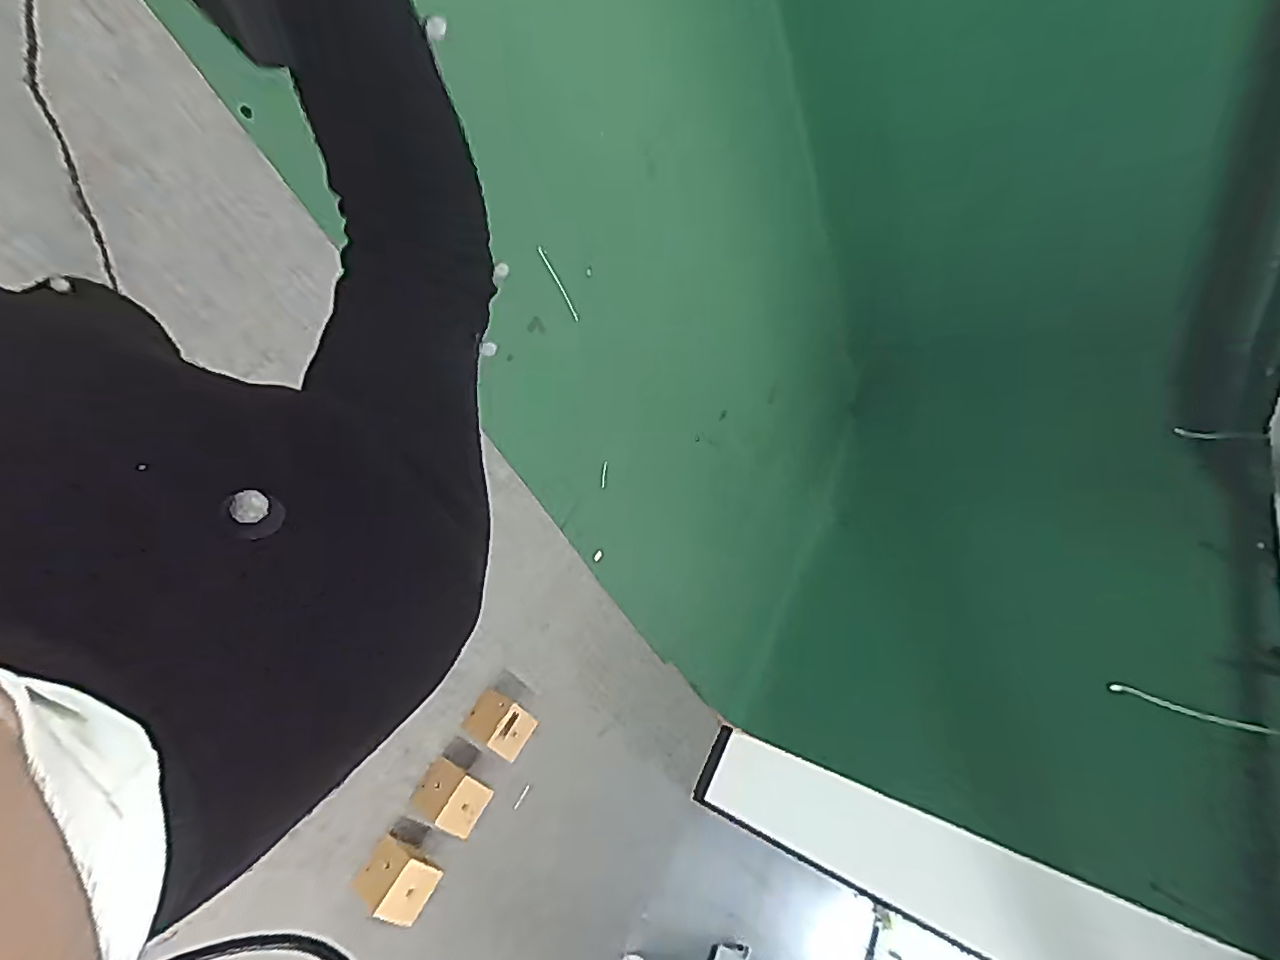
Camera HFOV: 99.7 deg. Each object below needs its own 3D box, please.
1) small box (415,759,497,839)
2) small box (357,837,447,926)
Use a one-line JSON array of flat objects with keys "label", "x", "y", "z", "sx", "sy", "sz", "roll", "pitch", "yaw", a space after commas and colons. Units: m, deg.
[{"label": "small box", "x": -0.649, "y": 1.111, "z": 1.895, "sx": 0.168, "sy": 0.176, "sz": 0.179, "roll": -56, "pitch": 134, "yaw": -29}, {"label": "small box", "x": -0.780, "y": 1.306, "z": 1.769, "sx": 0.168, "sy": 0.176, "sz": 0.179, "roll": -56, "pitch": 134, "yaw": -30}]
